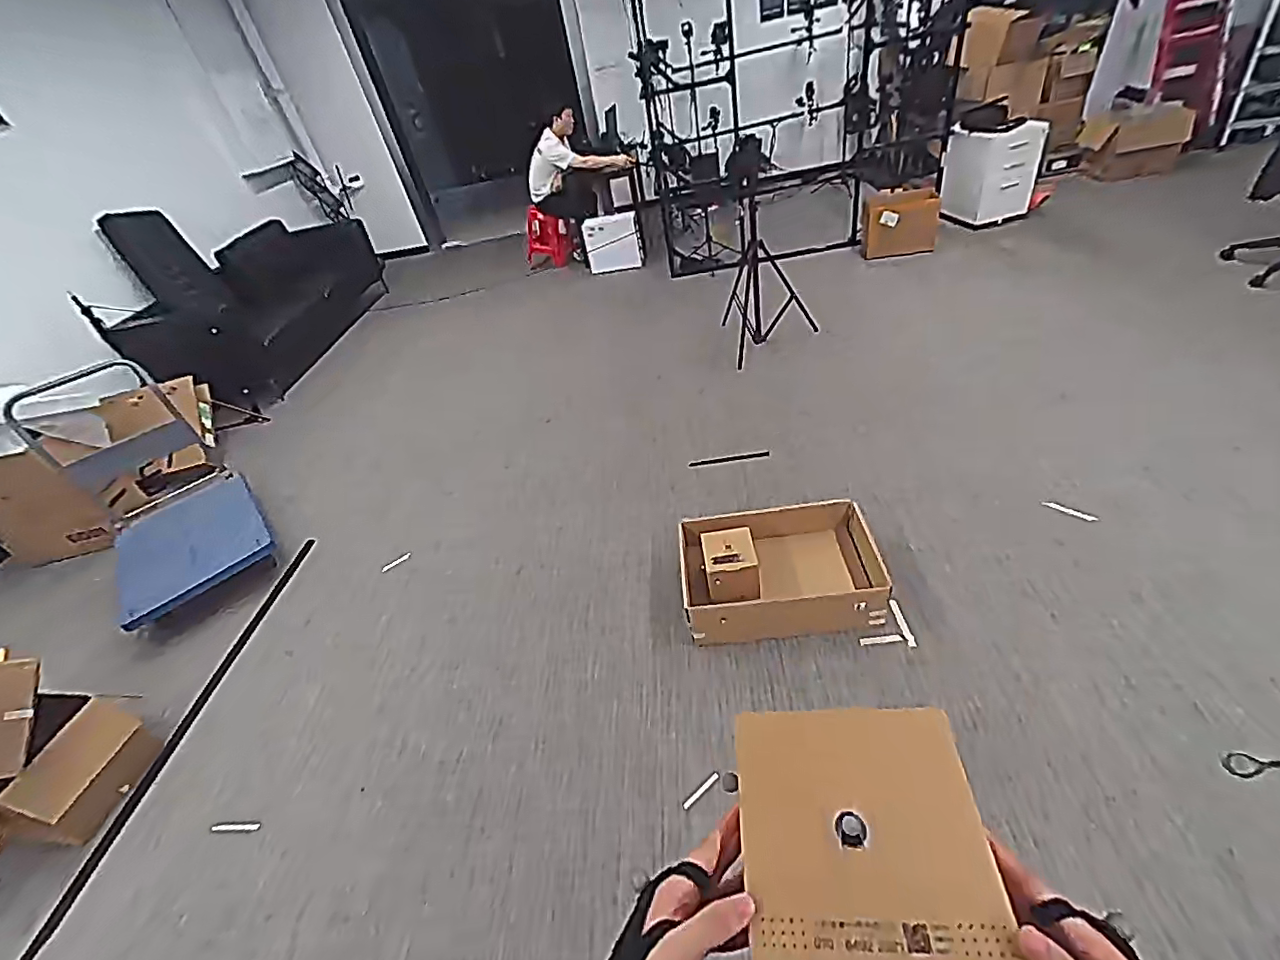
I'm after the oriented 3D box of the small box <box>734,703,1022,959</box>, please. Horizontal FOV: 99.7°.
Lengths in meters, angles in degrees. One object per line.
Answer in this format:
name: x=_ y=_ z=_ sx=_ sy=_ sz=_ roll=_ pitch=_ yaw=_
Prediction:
small box: x=0.172 y=0.303 z=0.438 sx=0.168 sy=0.179 sz=0.176 roll=-6 pitch=43 yaw=12
